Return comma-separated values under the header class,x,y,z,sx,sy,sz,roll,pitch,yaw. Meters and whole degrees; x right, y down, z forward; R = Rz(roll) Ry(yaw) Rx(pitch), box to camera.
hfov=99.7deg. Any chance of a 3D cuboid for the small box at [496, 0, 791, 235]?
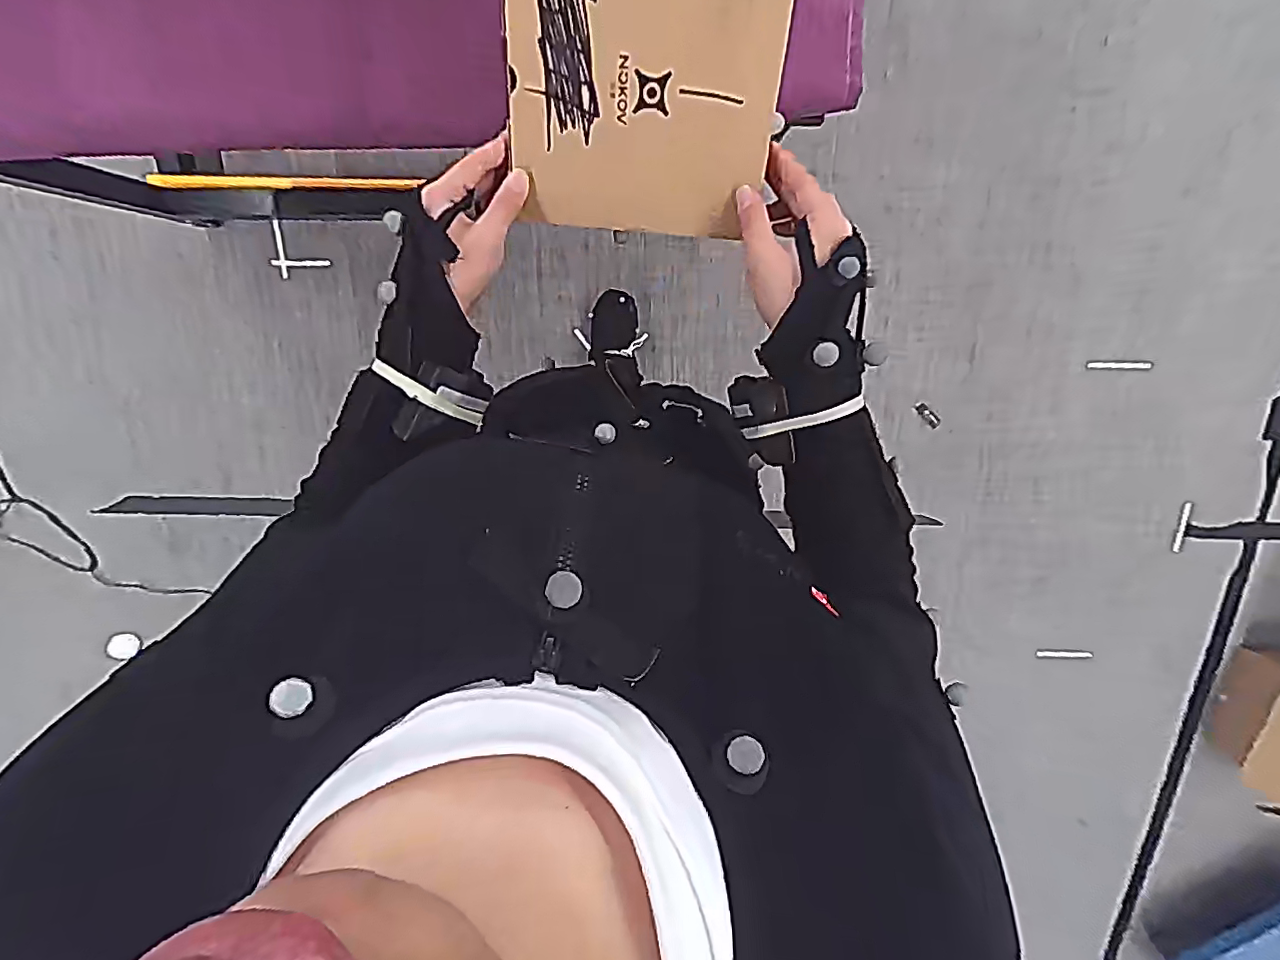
class,x,y,z,sx,sy,sz,roll,pitch,yaw
small box,0.006,-0.288,0.404,0.179,0.176,0.168,7,121,3
